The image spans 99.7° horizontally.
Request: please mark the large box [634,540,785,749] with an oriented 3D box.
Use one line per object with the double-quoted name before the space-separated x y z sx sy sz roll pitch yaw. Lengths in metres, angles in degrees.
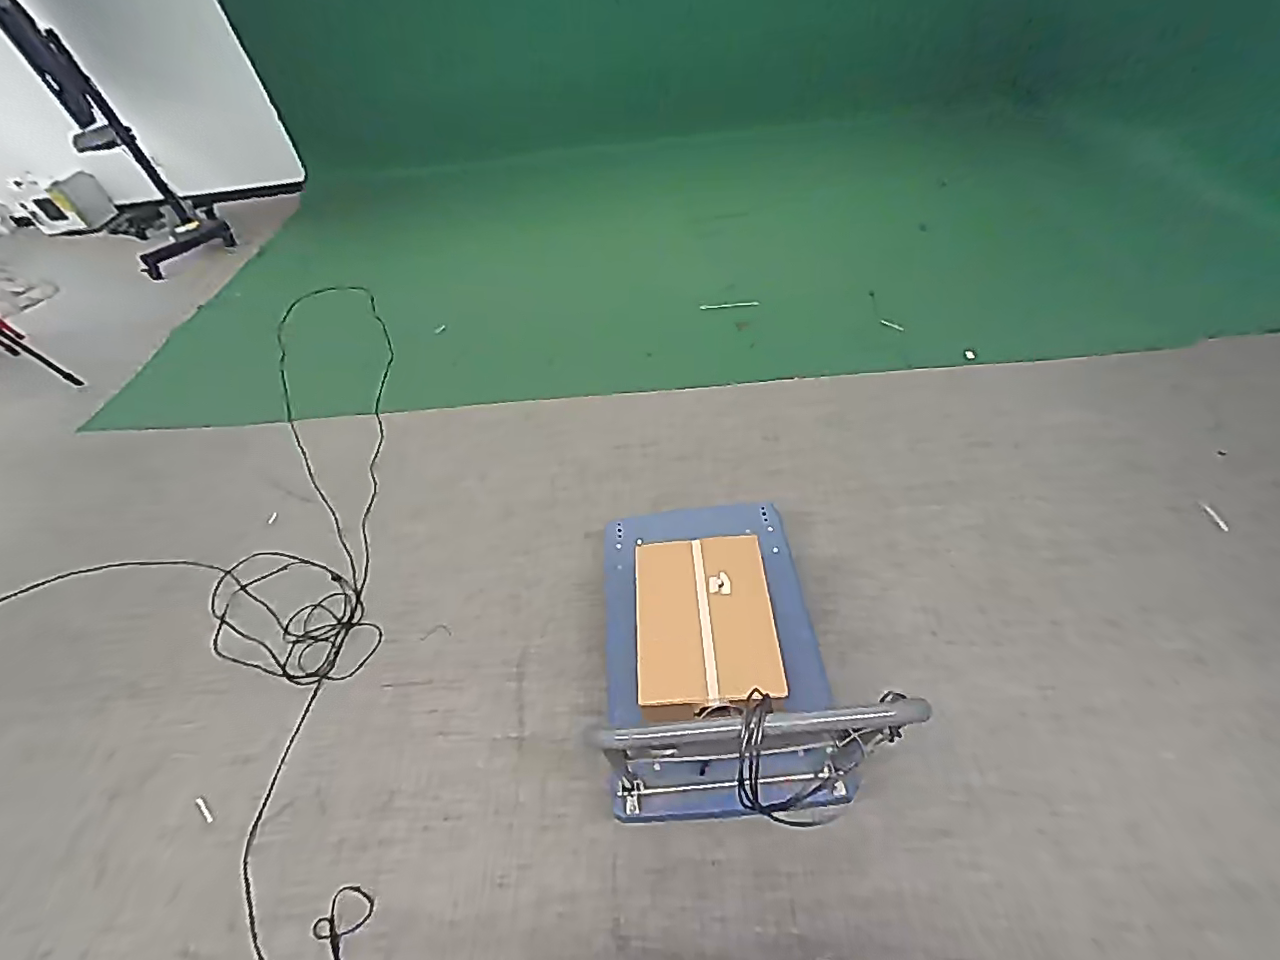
"large box" 0.161 0.414 1.362 0.320 0.320 0.408 -5 48 4
